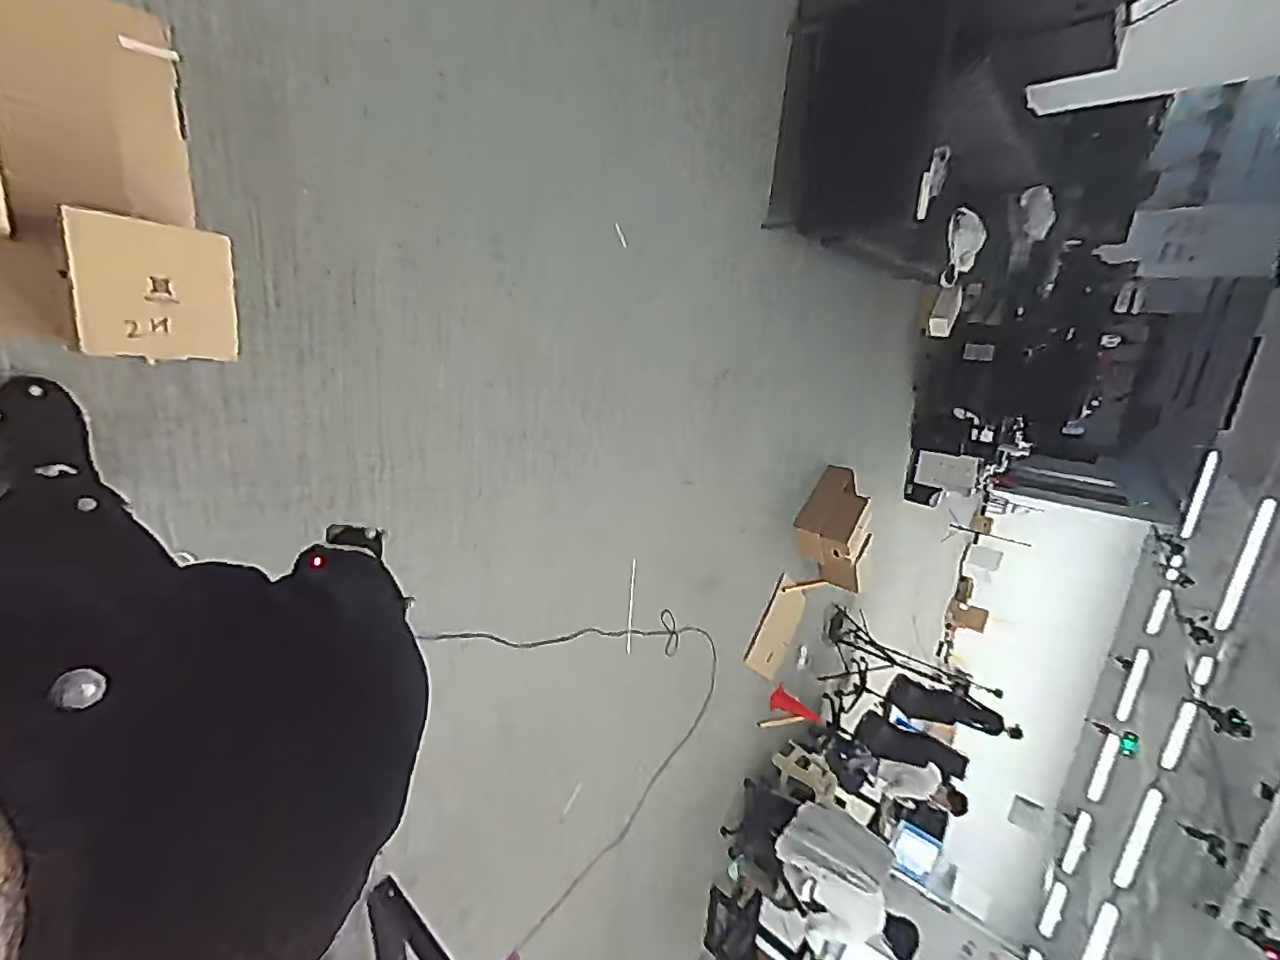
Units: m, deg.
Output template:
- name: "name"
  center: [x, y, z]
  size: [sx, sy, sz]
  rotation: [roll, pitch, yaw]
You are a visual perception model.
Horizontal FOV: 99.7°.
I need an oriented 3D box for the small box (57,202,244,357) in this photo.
- name: "small box"
  center: [-0.693, -0.271, 0.768]
  size: [0.168, 0.176, 0.179]
  rotation: [-11, 110, -49]
